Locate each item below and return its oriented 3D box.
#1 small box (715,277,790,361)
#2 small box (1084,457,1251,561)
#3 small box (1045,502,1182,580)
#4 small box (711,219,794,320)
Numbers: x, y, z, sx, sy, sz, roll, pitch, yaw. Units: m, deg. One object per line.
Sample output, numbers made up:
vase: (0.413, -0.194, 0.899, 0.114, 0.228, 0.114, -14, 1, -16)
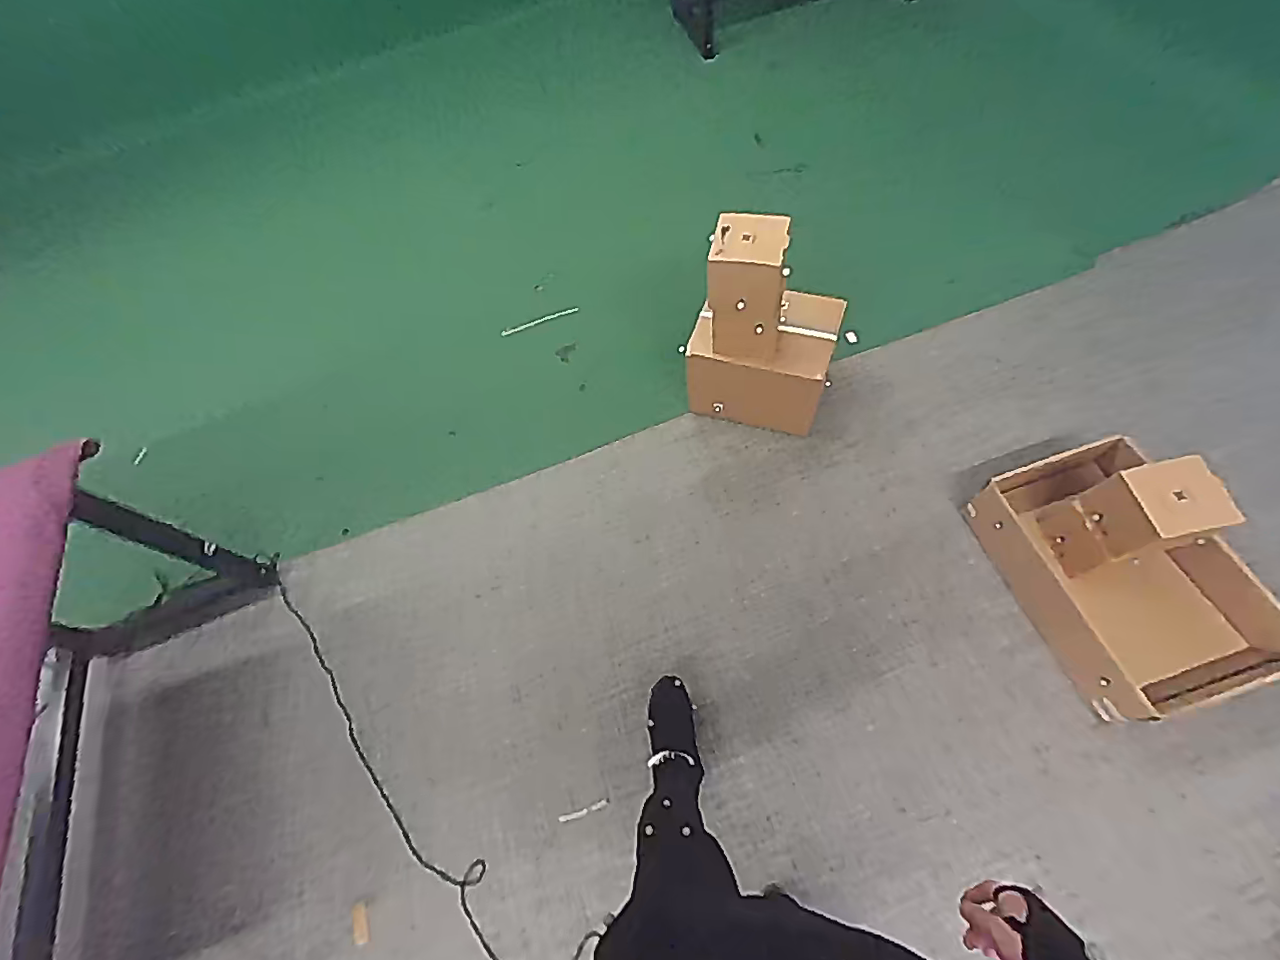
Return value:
small box: (0.312, -0.453, 1.514, 0.179, 0.176, 0.168, 10, 64, 13)
small box: (1.176, 0.071, 1.224, 0.179, 0.176, 0.168, -13, 64, 3)
small box: (1.191, 0.141, 1.371, 0.179, 0.176, 0.168, -16, 65, 1)
small box: (0.281, -0.530, 1.372, 0.179, 0.176, 0.168, 11, 65, 13)
